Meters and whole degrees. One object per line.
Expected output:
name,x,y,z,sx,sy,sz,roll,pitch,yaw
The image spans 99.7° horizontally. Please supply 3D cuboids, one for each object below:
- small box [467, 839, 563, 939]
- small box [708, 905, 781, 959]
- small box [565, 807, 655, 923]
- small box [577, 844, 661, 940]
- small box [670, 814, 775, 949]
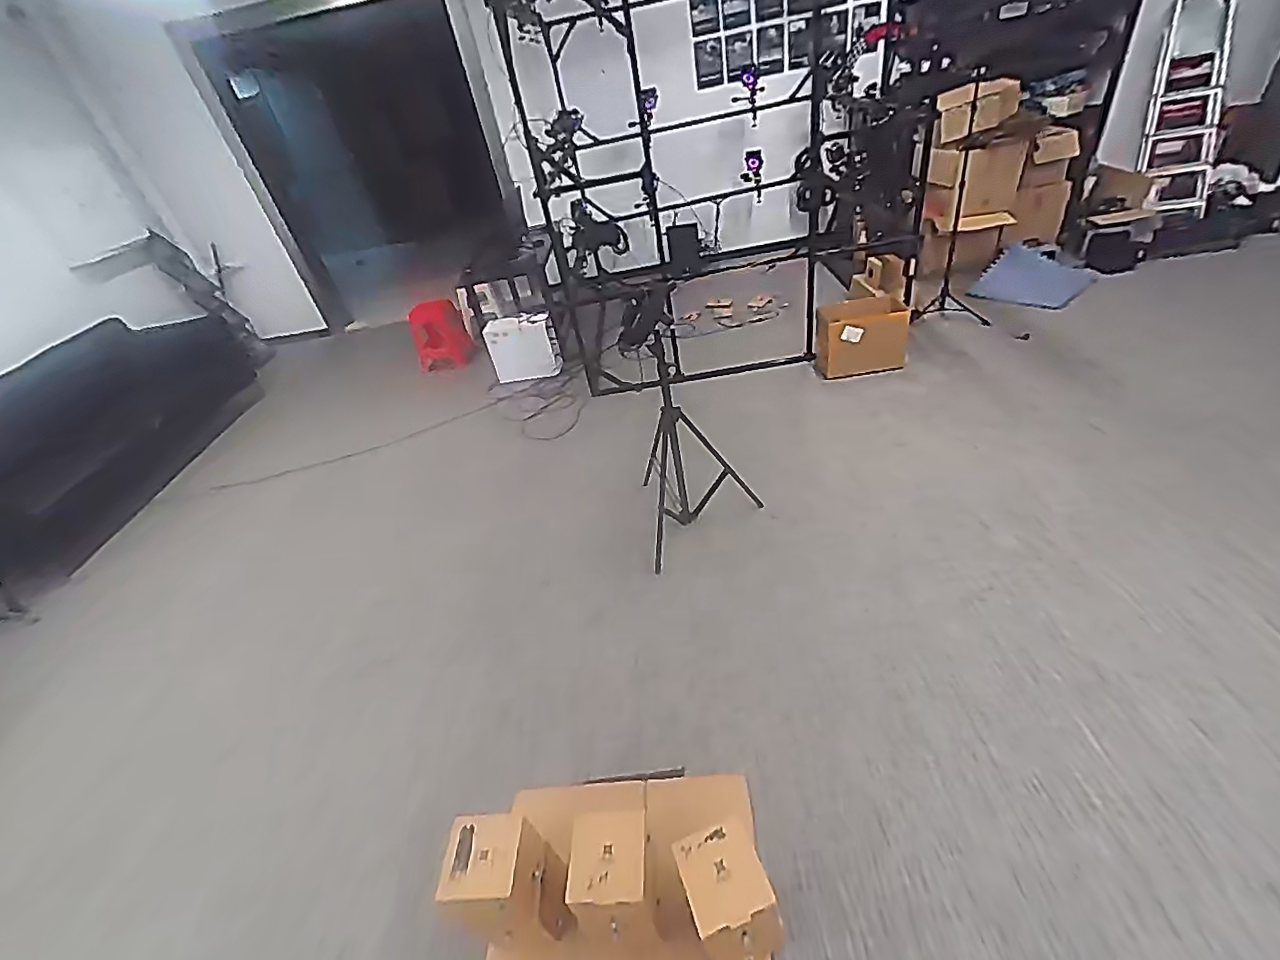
small box,-0.304,1.030,1.361,0.179,0.176,0.168,-9,37,7
small box,0.215,0.996,1.263,0.168,0.176,0.179,-20,37,-9
small box,-0.059,0.872,1.227,0.168,0.176,0.179,-6,38,8
small box,-0.043,1.004,1.326,0.179,0.176,0.168,-6,38,7
small box,0.180,0.870,1.166,0.168,0.176,0.179,-19,38,-7
